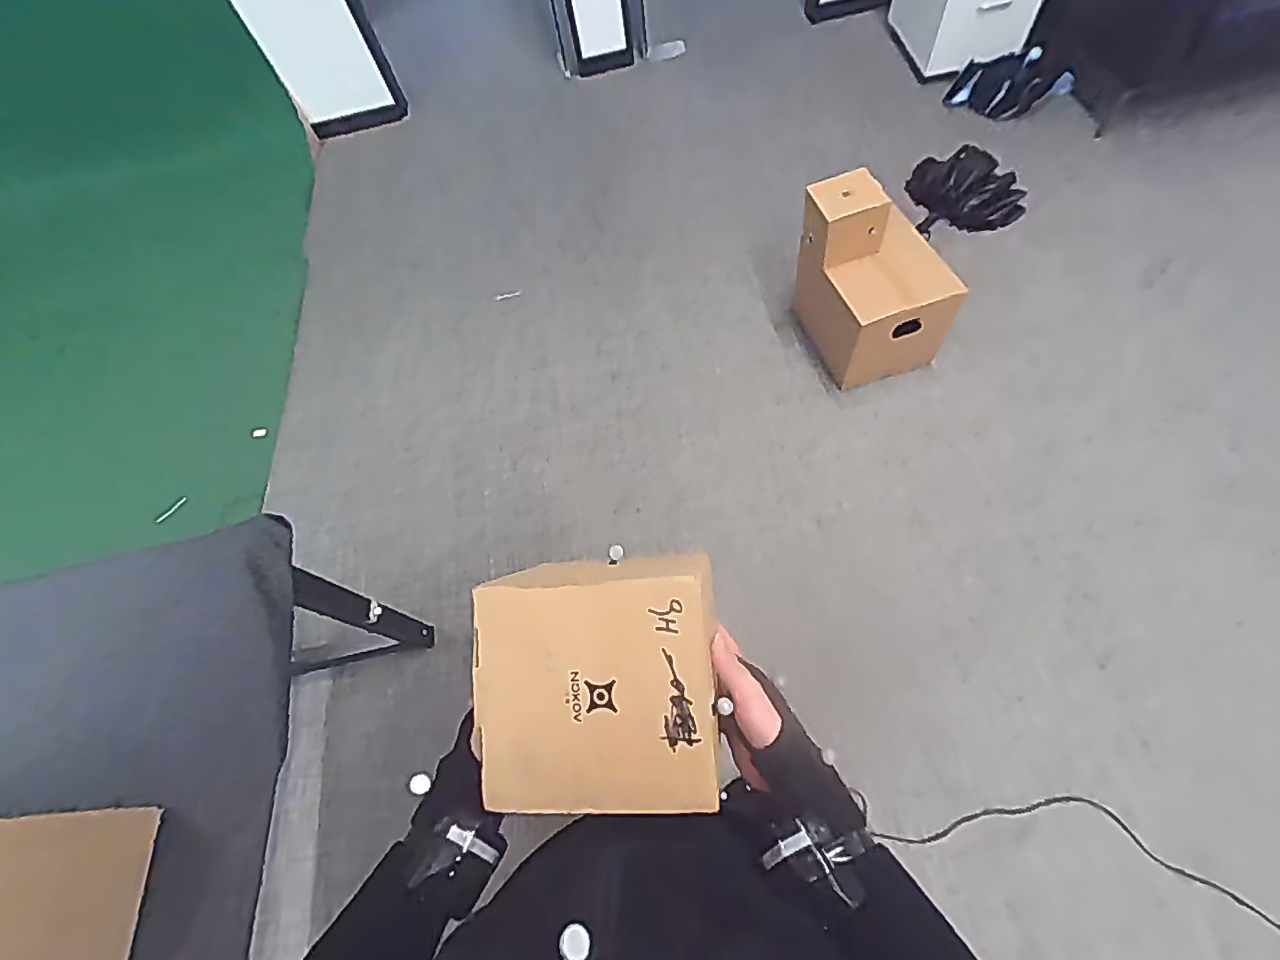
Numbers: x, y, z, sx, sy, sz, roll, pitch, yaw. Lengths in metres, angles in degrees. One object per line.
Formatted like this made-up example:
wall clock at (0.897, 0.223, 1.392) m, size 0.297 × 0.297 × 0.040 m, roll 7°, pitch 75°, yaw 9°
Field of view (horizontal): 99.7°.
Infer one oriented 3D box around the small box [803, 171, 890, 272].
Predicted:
small box at (0.584, -0.737, 1.553) m, size 0.179 × 0.176 × 0.168 m, roll -18°, pitch 61°, yaw 4°
